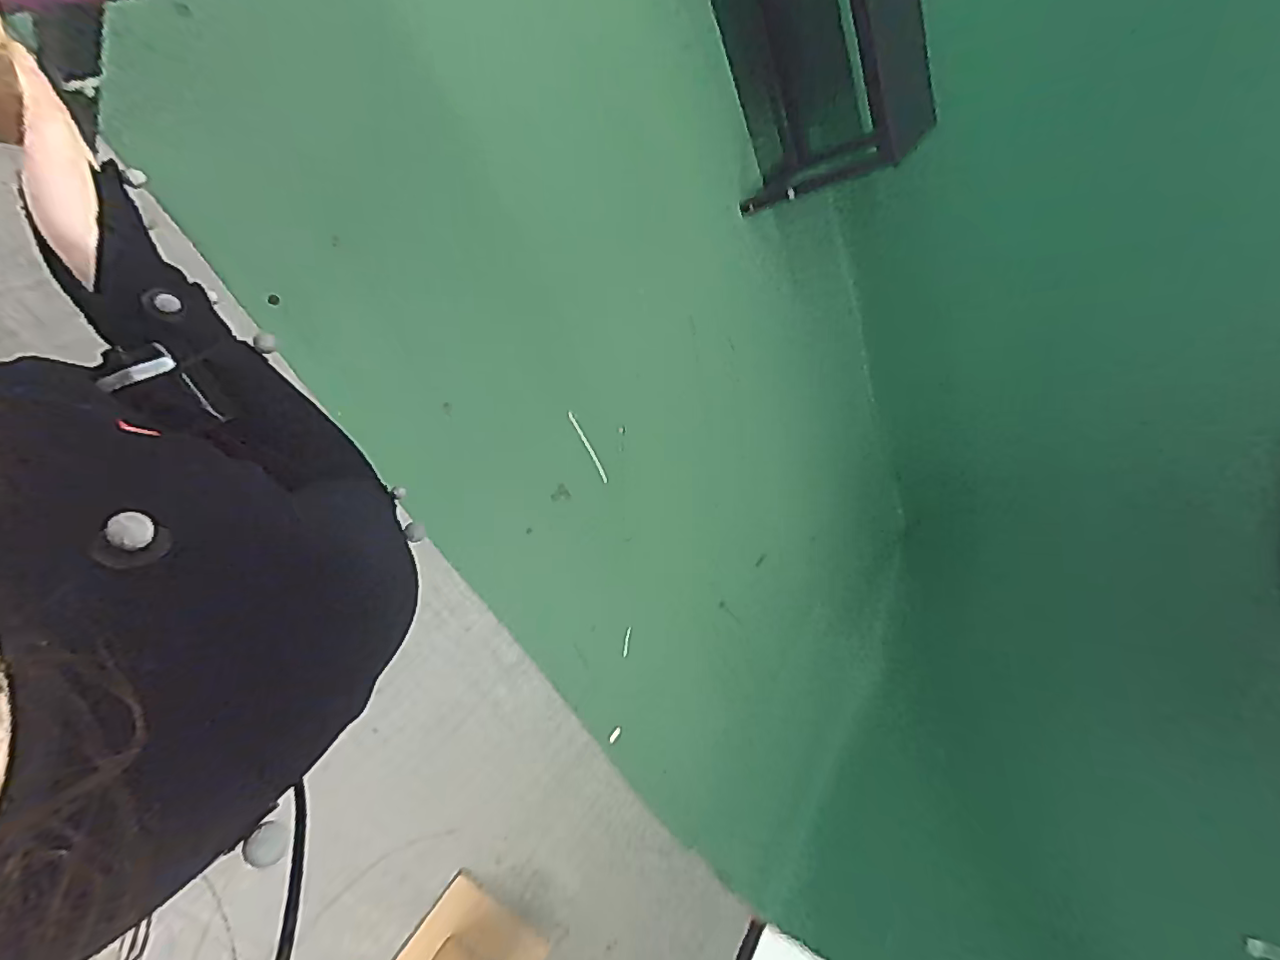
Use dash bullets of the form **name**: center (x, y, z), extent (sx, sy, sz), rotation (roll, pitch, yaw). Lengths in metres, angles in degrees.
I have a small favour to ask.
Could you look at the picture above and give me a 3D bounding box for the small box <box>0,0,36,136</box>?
- **small box**: center (-0.412, -0.283, 0.236), extent (0.168, 0.176, 0.179), rotation (-18, 114, -42)
